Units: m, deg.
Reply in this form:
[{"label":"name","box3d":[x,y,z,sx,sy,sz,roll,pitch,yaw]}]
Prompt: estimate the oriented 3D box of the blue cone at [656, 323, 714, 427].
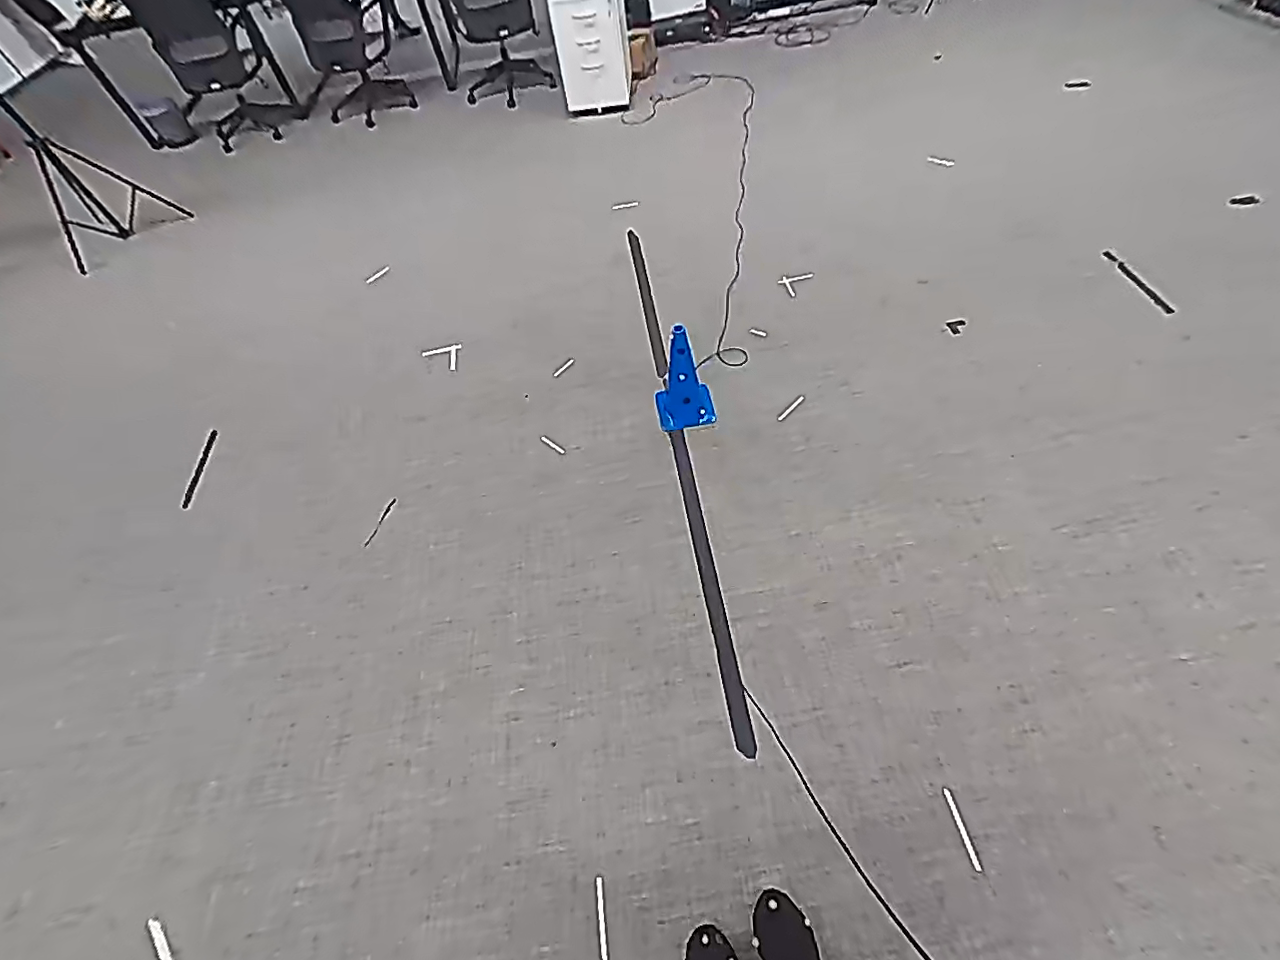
[{"label":"blue cone","box3d":[0.141,-0.373,1.826,0.193,0.380,0.192,-11,53,0]}]
